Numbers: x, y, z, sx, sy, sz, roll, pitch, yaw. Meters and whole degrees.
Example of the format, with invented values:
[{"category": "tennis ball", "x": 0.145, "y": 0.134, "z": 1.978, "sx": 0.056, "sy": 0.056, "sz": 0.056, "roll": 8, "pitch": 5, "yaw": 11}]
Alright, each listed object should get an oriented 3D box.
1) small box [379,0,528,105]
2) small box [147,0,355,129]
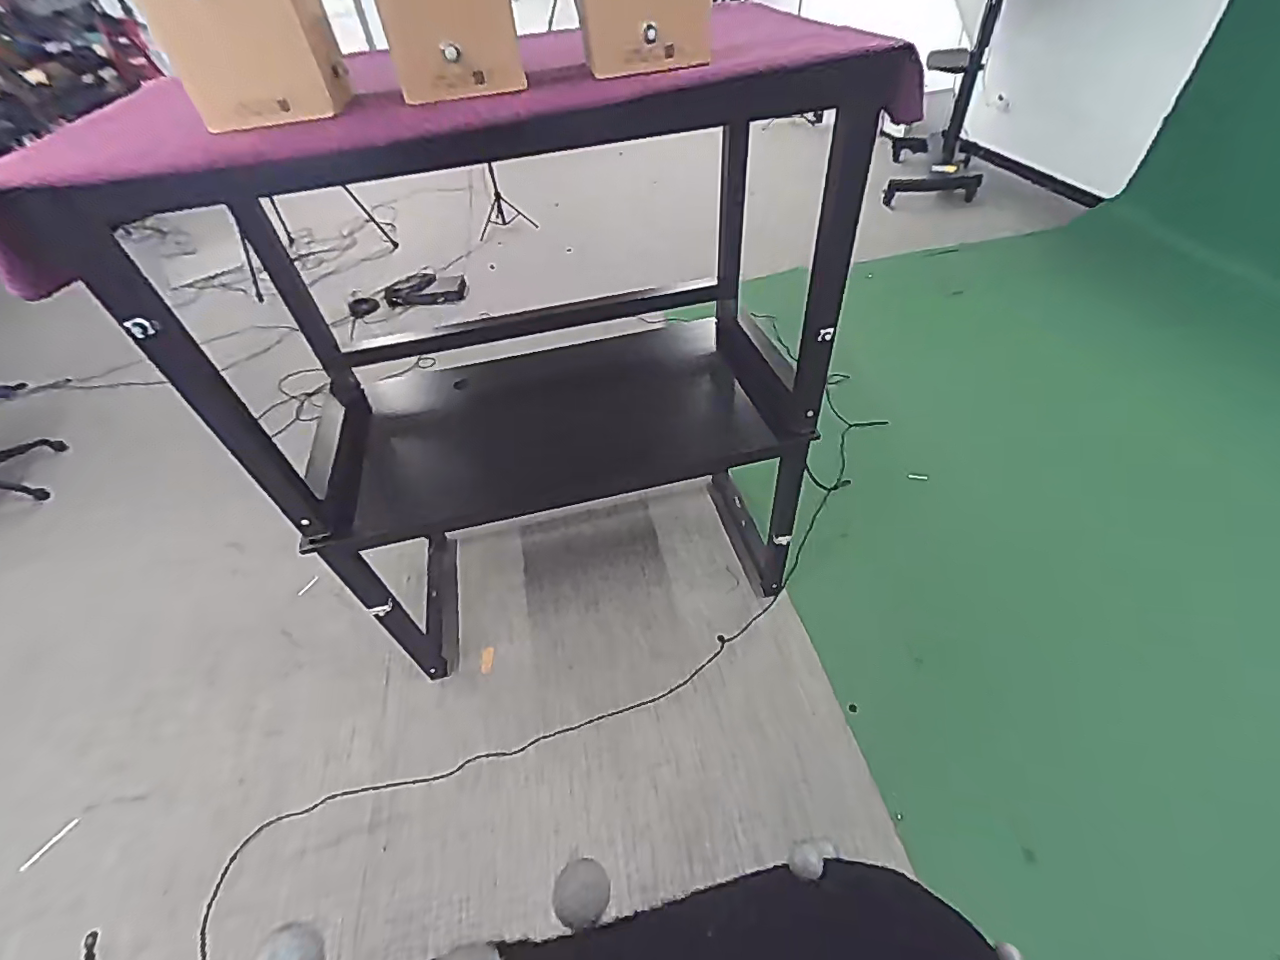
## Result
[{"category": "small box", "x": -0.255, "y": -0.633, "z": 0.741, "sx": 0.168, "sy": 0.176, "sz": 0.179, "roll": -12, "pitch": 46, "yaw": -5}, {"category": "small box", "x": -0.502, "y": -0.581, "z": 0.713, "sx": 0.168, "sy": 0.176, "sz": 0.179, "roll": -12, "pitch": 45, "yaw": -6}]
